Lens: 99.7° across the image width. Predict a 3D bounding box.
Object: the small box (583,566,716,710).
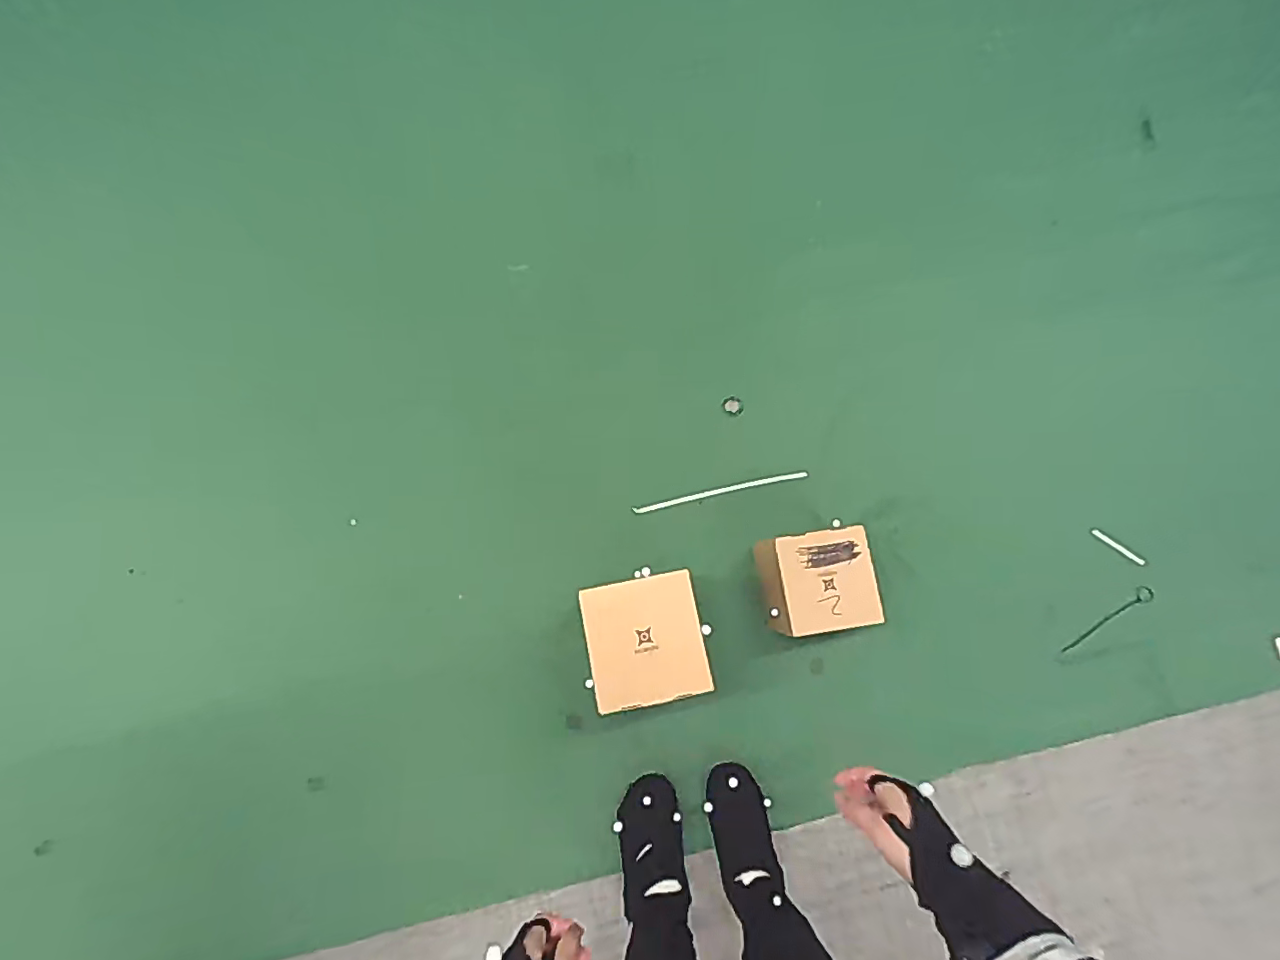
[{"bbox_3d":[0.010,0.239,0.850,0.168,0.176,0.179,-12,80,-2],"label":"small box"}]
